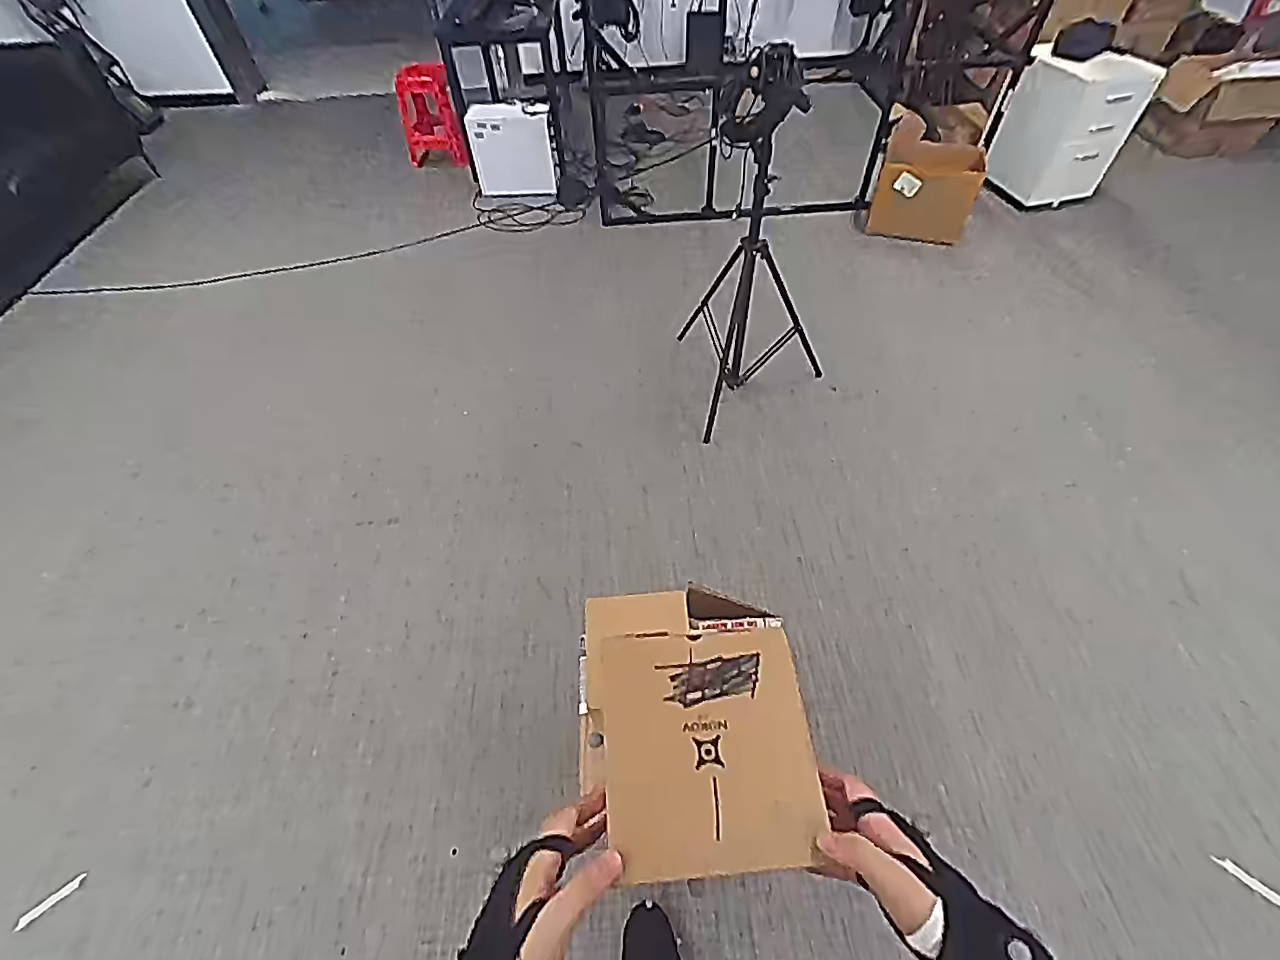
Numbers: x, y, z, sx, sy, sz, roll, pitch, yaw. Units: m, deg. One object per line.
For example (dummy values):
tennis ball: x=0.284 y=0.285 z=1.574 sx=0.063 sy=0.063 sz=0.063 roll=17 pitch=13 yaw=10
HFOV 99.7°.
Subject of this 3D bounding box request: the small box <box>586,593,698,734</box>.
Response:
small box: x=0.003 y=0.307 z=0.898 sx=0.168 sy=0.176 sz=0.179 roll=-5 pitch=54 yaw=1
